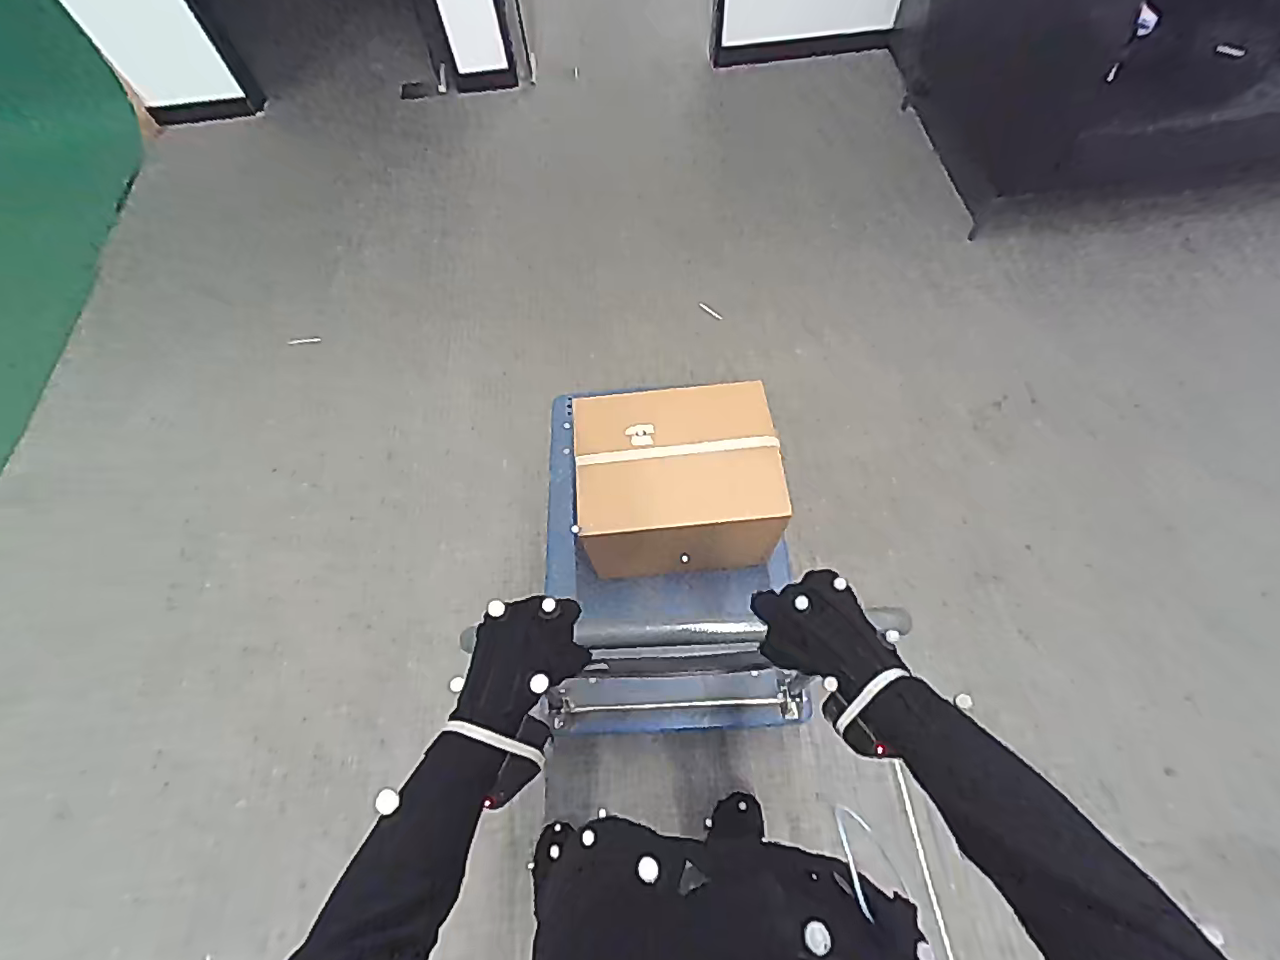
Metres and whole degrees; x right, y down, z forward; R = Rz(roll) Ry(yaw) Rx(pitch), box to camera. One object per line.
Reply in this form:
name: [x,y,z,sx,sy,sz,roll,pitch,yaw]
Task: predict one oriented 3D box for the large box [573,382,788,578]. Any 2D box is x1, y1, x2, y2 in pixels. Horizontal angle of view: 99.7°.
large box: [0.081,0.016,1.224,0.408,0.320,0.320,-7,64,1]
